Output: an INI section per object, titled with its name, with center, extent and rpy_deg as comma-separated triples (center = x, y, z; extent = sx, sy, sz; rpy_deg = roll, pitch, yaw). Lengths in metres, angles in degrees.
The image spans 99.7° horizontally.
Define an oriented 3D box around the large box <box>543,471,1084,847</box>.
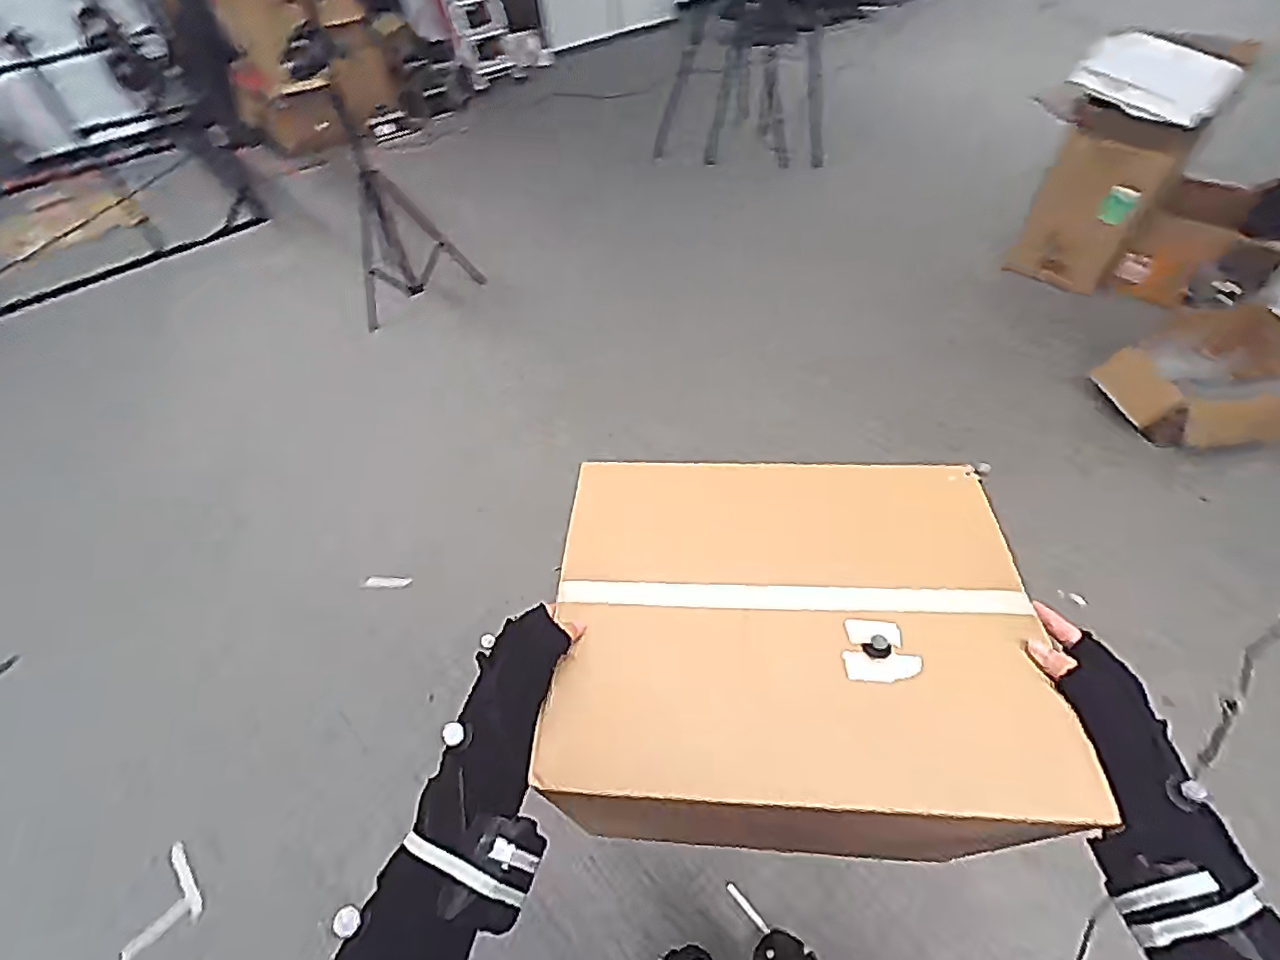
[large box]
center = 0.134, 0.205, 0.605
extent = 0.408, 0.320, 0.320
rpy_deg = 0, 51, 4
